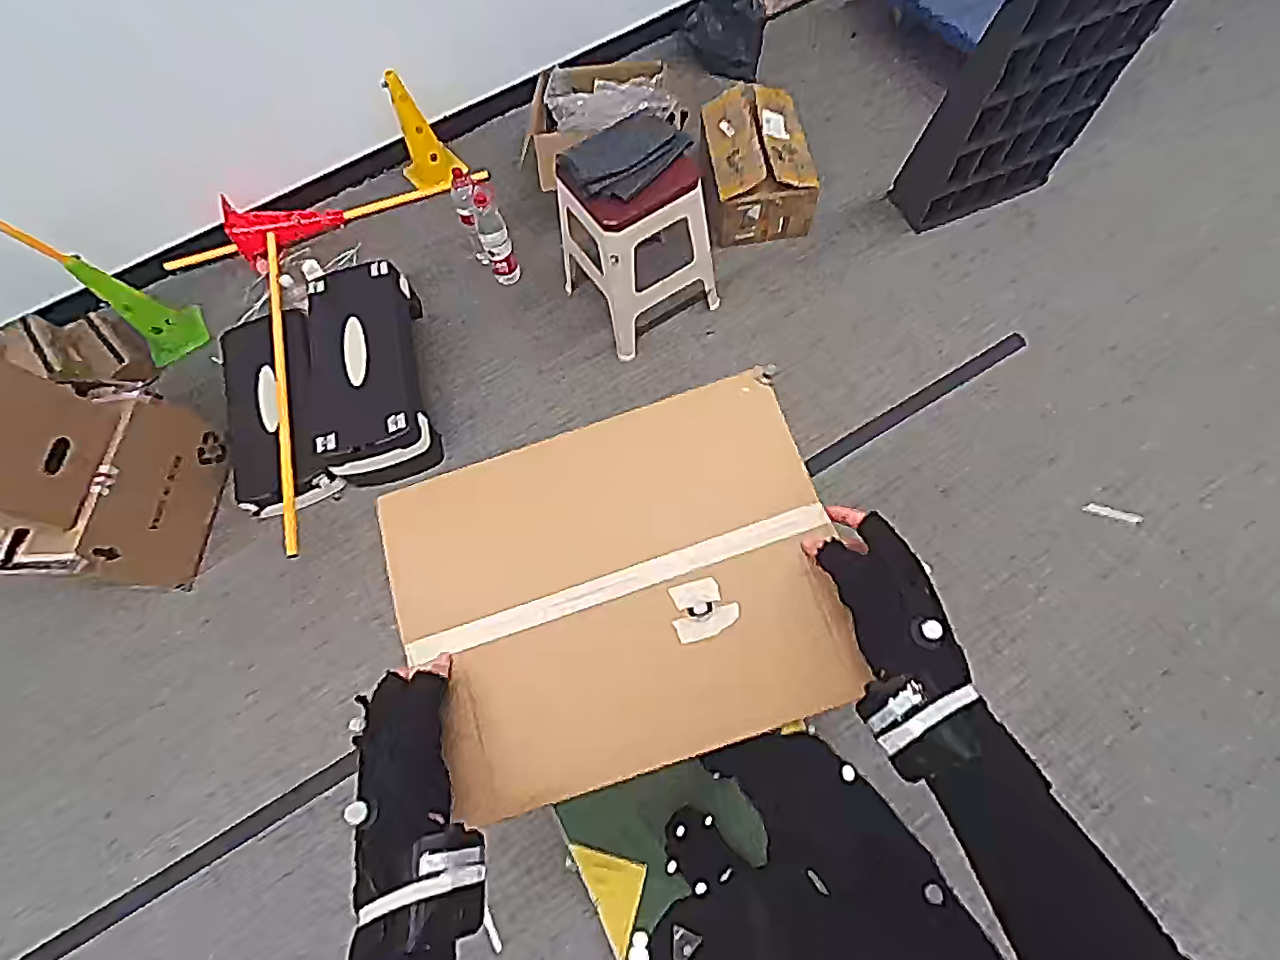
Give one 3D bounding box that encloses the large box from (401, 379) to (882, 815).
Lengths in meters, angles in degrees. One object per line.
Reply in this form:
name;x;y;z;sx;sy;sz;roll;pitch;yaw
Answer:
large box;-0.005;0.135;0.661;0.408;0.320;0.320;-18;75;0
